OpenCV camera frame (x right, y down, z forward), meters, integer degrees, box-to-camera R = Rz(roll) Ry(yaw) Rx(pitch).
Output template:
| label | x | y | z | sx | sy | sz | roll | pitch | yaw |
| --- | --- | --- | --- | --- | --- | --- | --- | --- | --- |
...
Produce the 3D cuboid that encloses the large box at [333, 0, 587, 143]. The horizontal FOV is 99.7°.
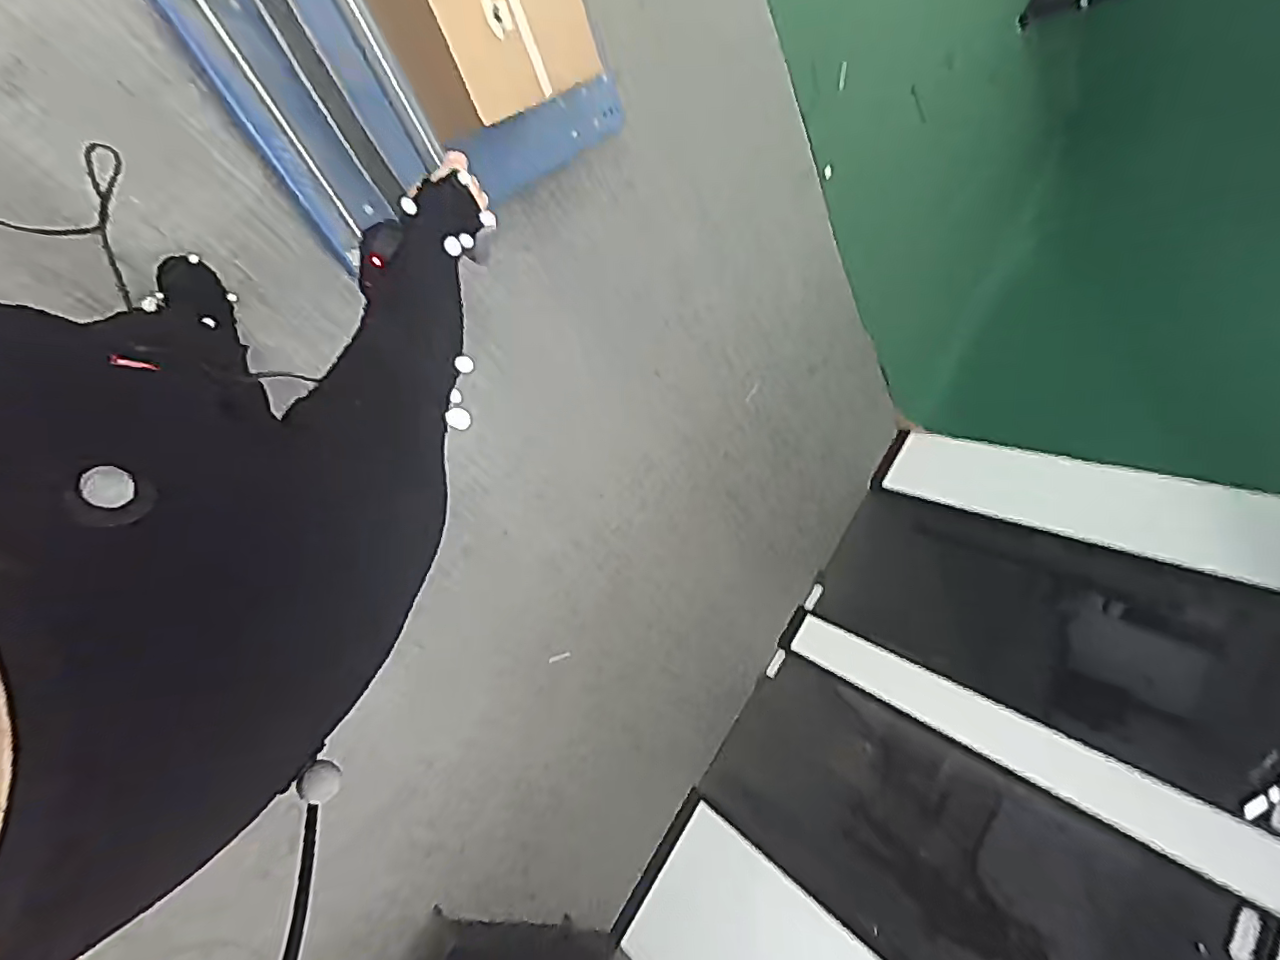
| label | x | y | z | sx | sy | sz | roll | pitch | yaw |
| --- | --- | --- | --- | --- | --- | --- | --- | --- | --- |
| large box | -0.374 | -0.938 | 1.030 | 0.320 | 0.320 | 0.408 | -43 | 131 | -24 |
